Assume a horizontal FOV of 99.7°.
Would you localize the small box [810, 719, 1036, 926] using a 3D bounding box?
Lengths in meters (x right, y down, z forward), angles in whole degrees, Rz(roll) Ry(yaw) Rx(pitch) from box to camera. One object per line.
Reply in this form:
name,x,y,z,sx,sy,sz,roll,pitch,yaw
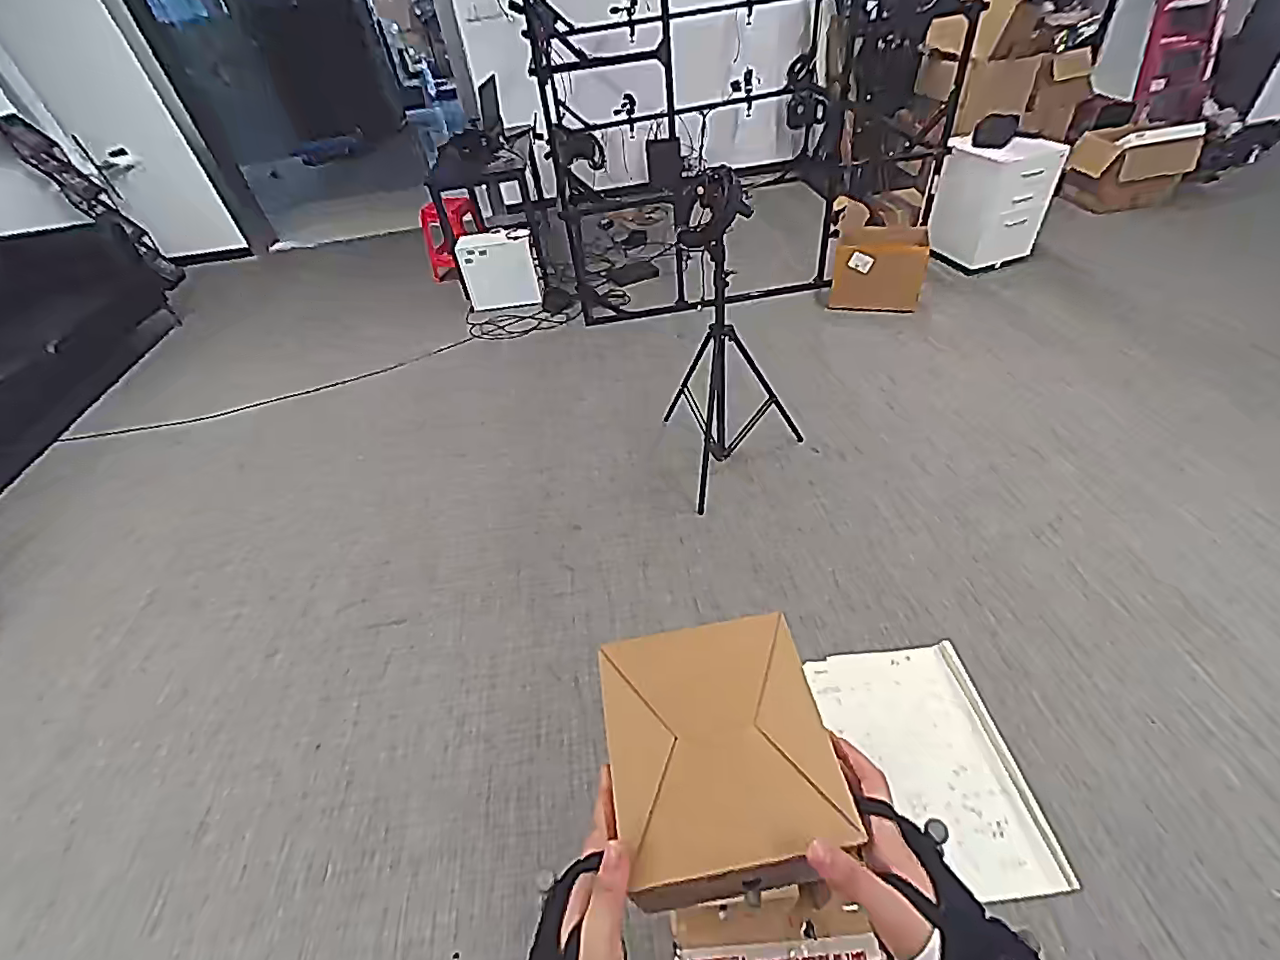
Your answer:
small box,0.322,0.421,0.666,0.168,0.176,0.179,-6,45,-1
